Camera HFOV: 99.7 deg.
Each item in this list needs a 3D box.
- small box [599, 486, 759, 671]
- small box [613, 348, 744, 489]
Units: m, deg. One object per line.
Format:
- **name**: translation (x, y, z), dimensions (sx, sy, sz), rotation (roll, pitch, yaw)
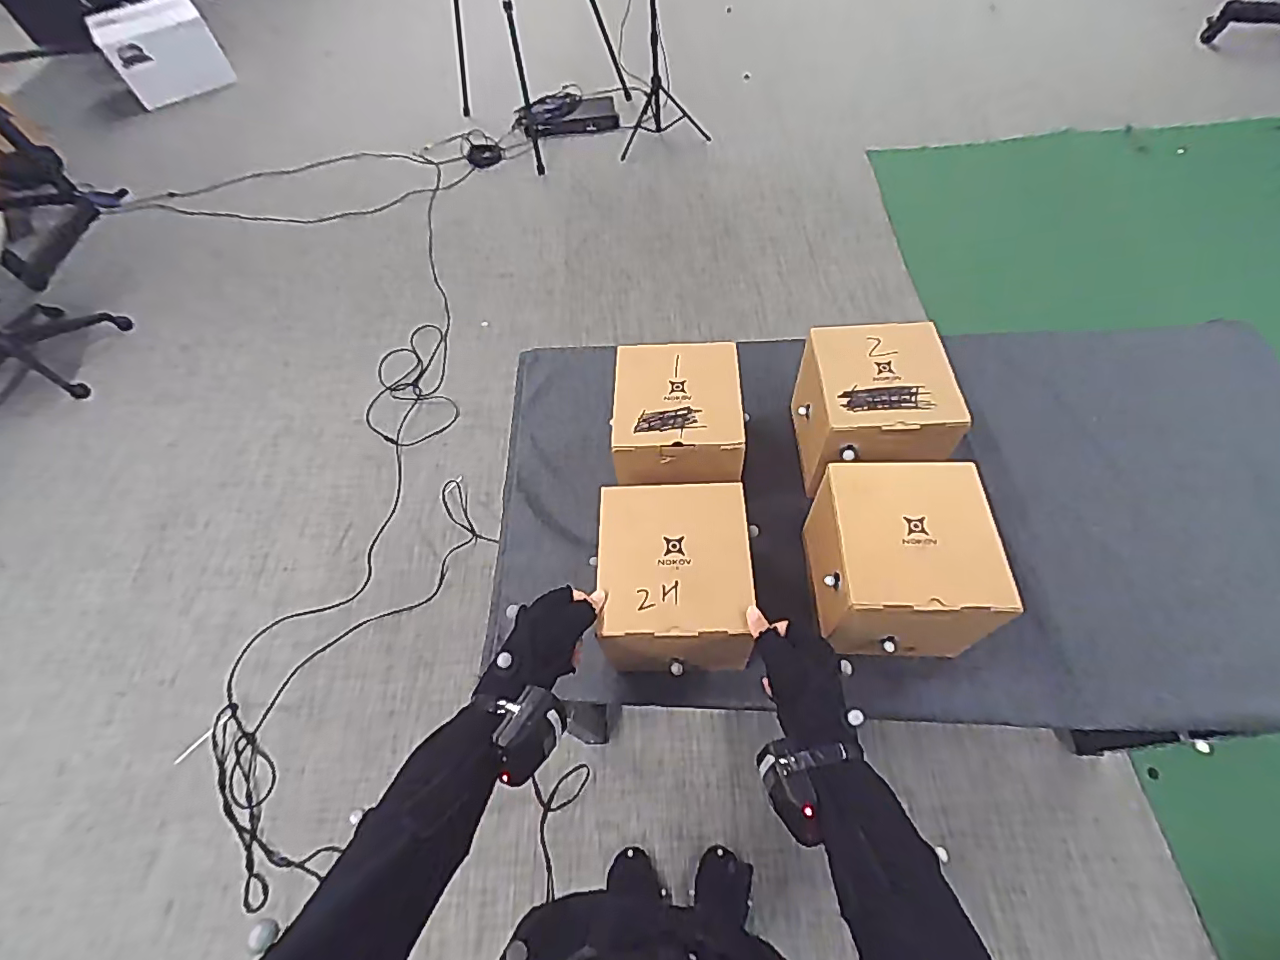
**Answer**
- **small box**: translation (0.045, 0.124, 0.657), dimensions (0.168, 0.176, 0.179), rotation (-2, 59, 4)
- **small box**: translation (0.057, -0.065, 0.776), dimensions (0.168, 0.176, 0.179), rotation (-1, 58, 4)
